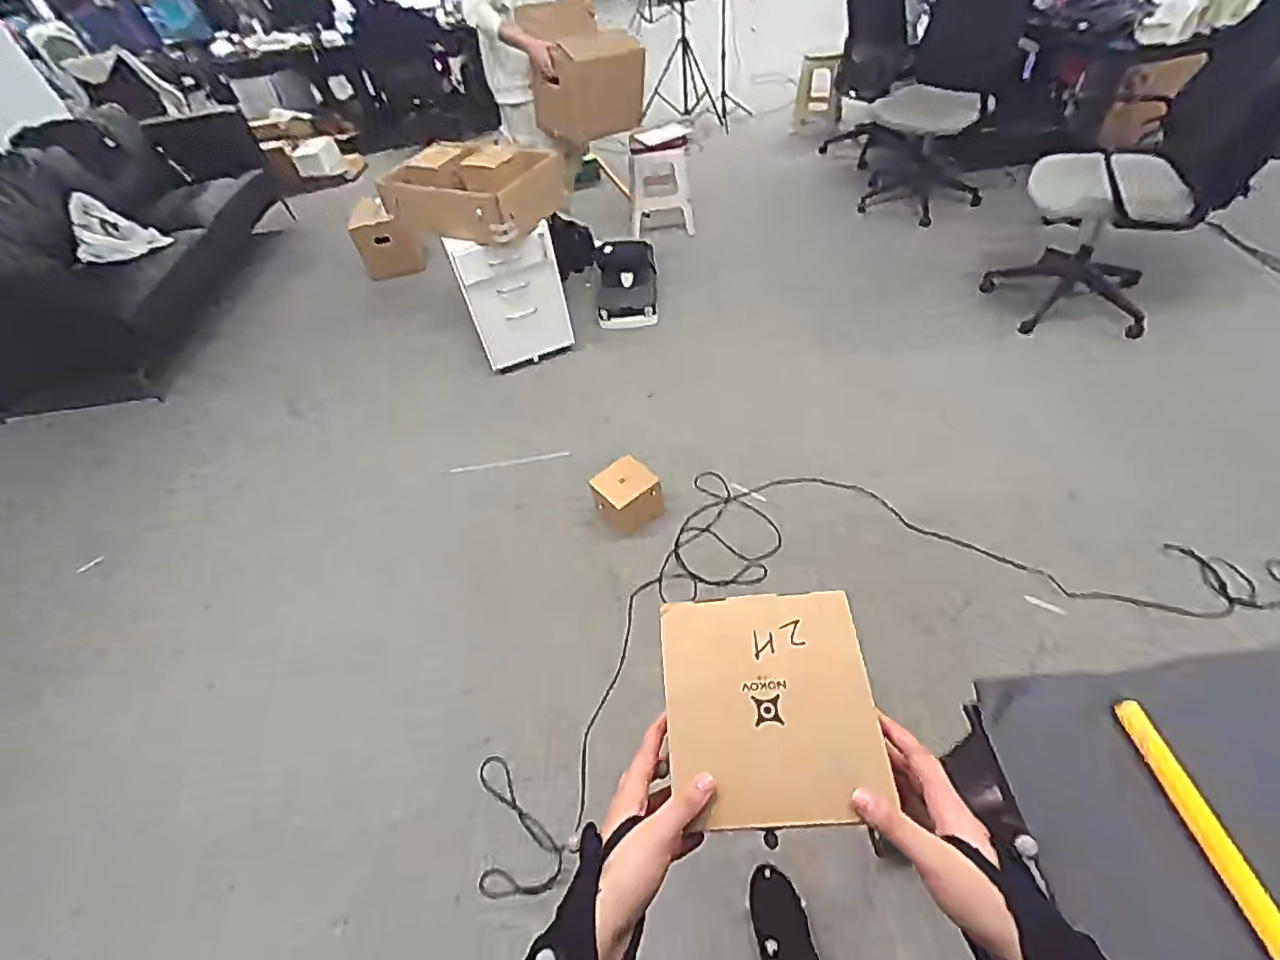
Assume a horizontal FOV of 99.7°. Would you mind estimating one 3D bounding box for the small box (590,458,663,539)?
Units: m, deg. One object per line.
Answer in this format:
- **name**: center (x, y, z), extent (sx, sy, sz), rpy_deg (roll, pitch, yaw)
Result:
- **small box**: center (-0.040, 0.065, 1.815), extent (0.179, 0.176, 0.168), rpy_deg (-36, 53, -22)
